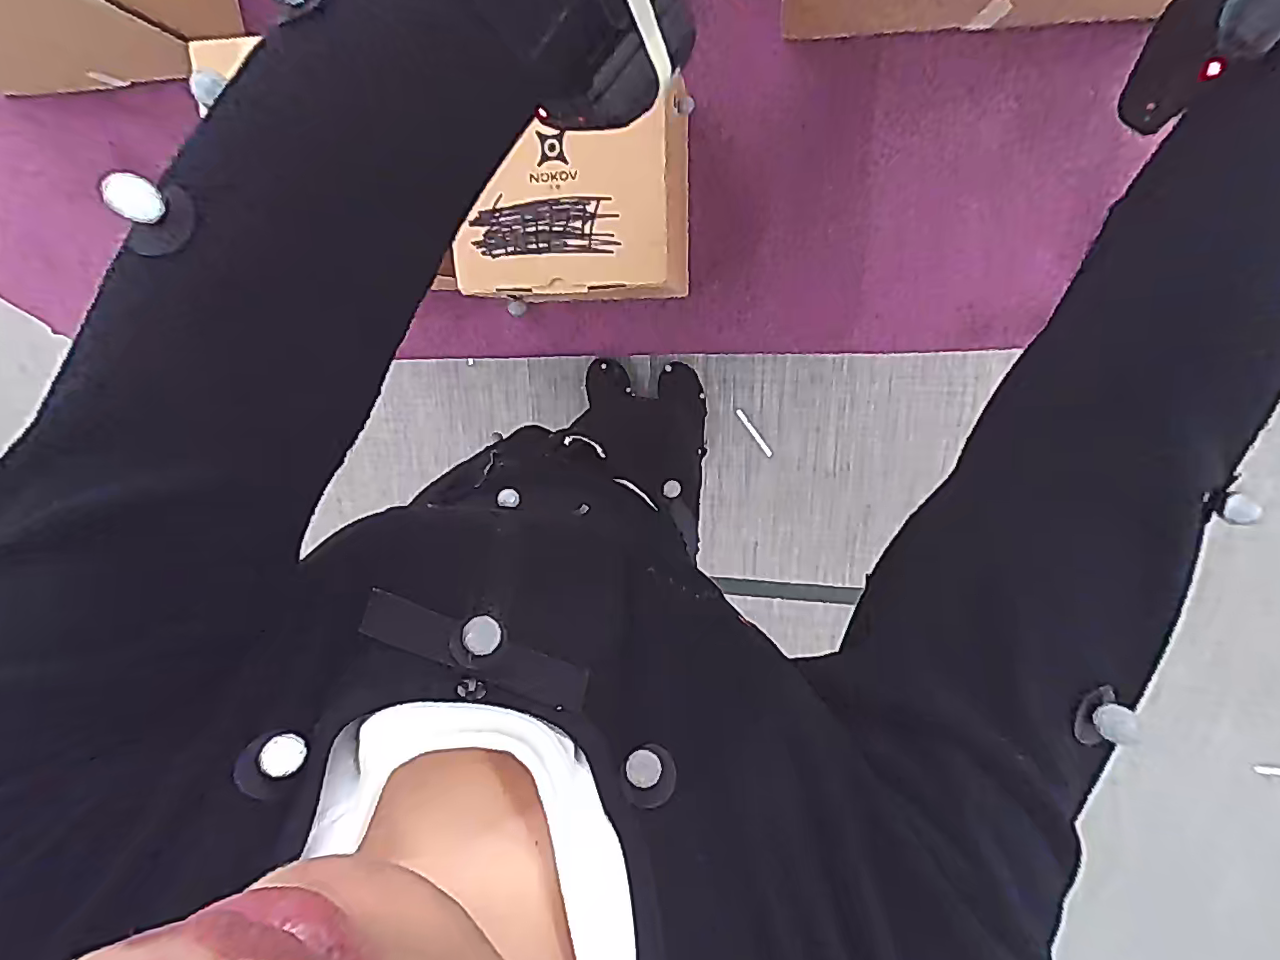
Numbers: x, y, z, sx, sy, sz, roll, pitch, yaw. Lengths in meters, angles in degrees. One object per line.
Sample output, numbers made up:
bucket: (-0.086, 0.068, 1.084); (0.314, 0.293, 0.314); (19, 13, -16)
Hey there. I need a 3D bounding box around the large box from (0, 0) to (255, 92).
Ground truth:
large box: (-0.574, -0.572, 0.382); (0.320, 0.320, 0.408); (0, 109, 8)
